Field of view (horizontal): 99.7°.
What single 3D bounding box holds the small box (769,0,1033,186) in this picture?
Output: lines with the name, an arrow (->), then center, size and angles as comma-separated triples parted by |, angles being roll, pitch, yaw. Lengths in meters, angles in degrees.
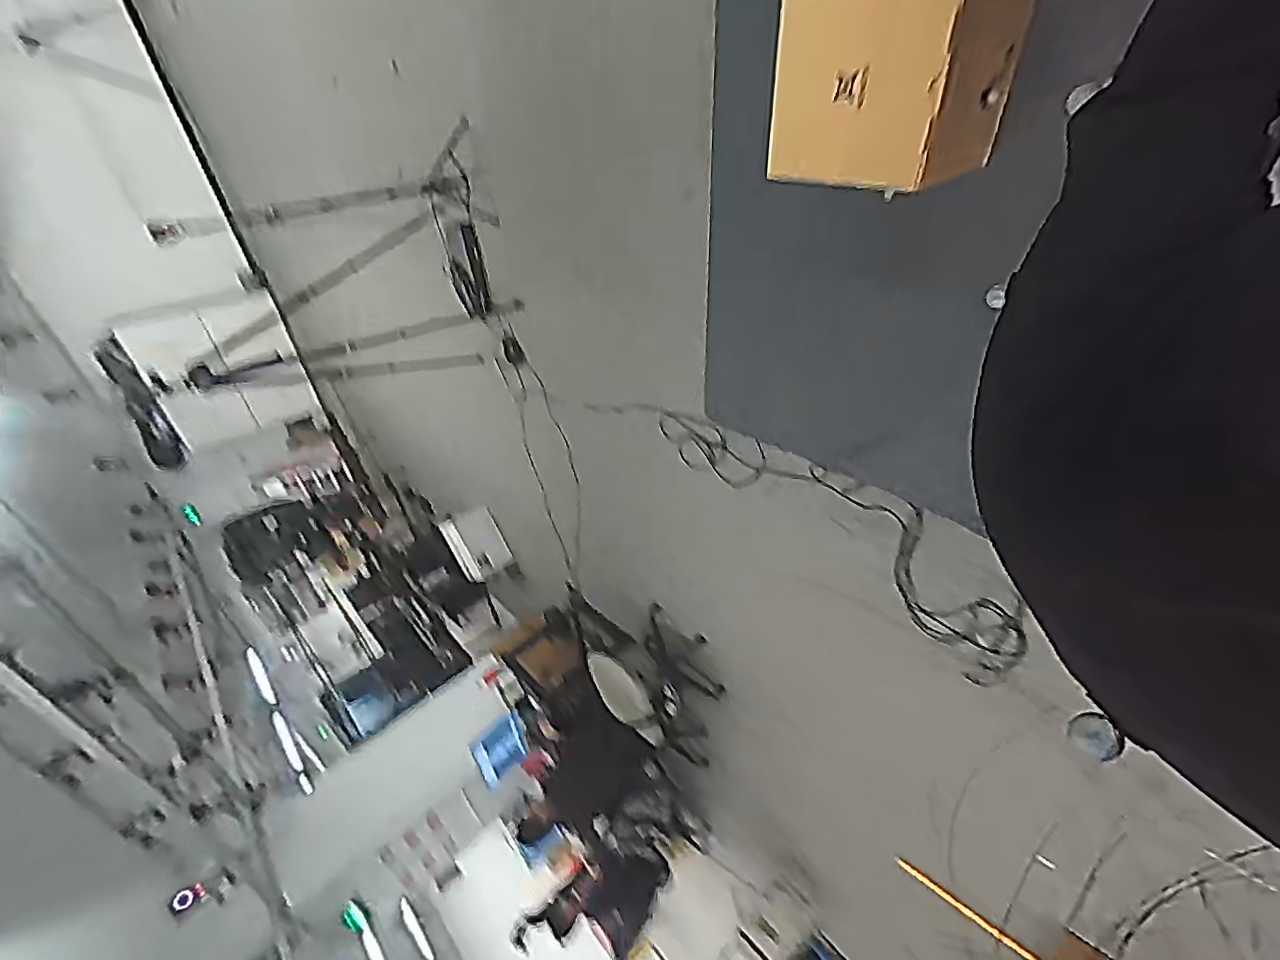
small box -> 0.264, -0.418, 0.568 | 0.179, 0.176, 0.168 | 31, 138, 37
